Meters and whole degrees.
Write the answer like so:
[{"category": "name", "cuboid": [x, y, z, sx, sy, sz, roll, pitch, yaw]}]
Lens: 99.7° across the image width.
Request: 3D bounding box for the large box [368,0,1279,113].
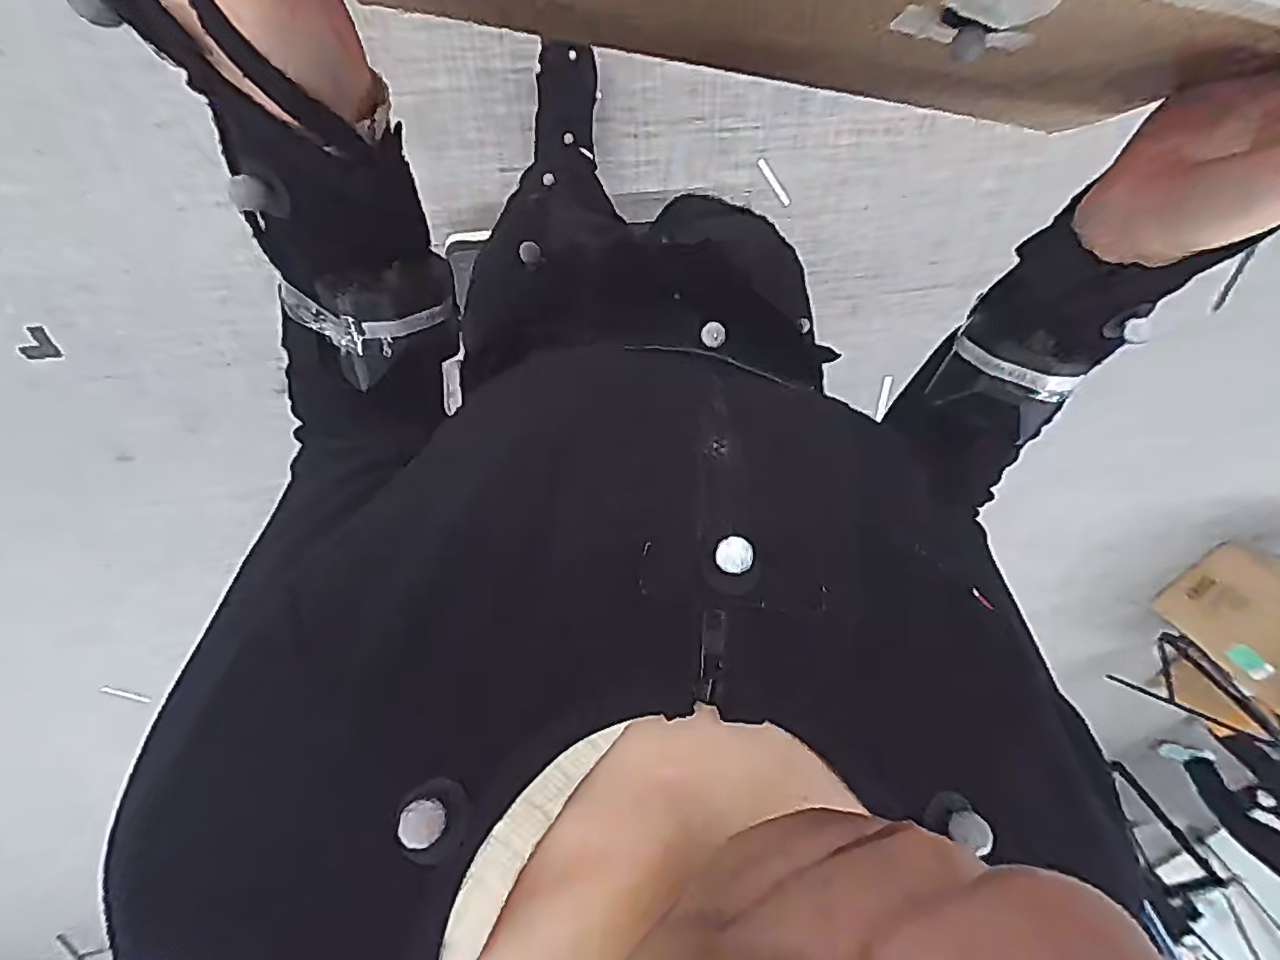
[{"category": "large box", "cuboid": [0.084, -0.325, 0.112, 0.408, 0.320, 0.320, 3, 111, -8]}]
